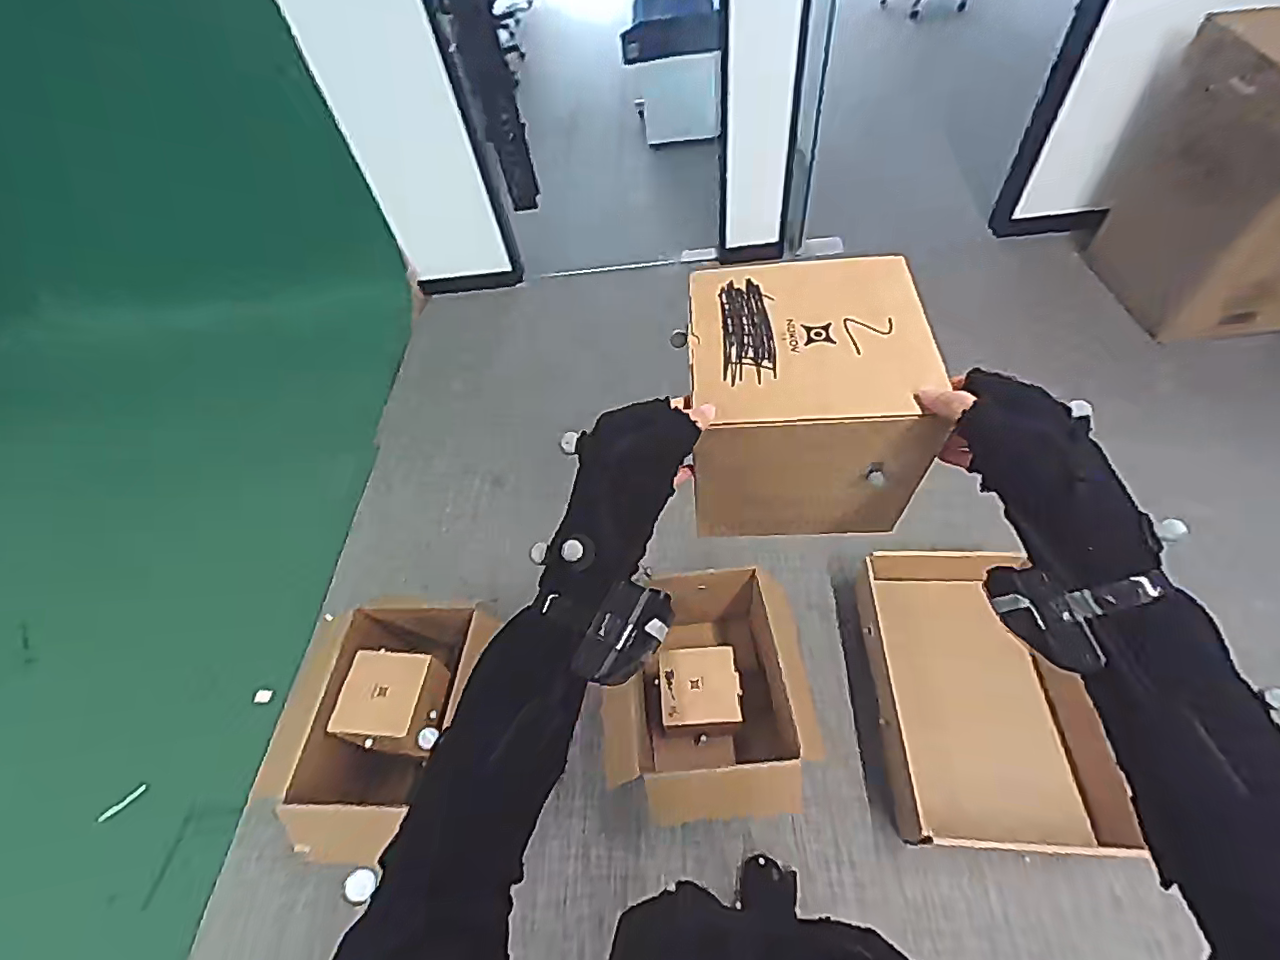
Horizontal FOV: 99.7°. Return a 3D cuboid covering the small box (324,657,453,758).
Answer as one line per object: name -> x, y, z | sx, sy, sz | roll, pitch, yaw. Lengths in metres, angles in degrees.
small box -> -0.537, 0.502, 1.188 | 0.179, 0.176, 0.168 | 1, 53, 7
